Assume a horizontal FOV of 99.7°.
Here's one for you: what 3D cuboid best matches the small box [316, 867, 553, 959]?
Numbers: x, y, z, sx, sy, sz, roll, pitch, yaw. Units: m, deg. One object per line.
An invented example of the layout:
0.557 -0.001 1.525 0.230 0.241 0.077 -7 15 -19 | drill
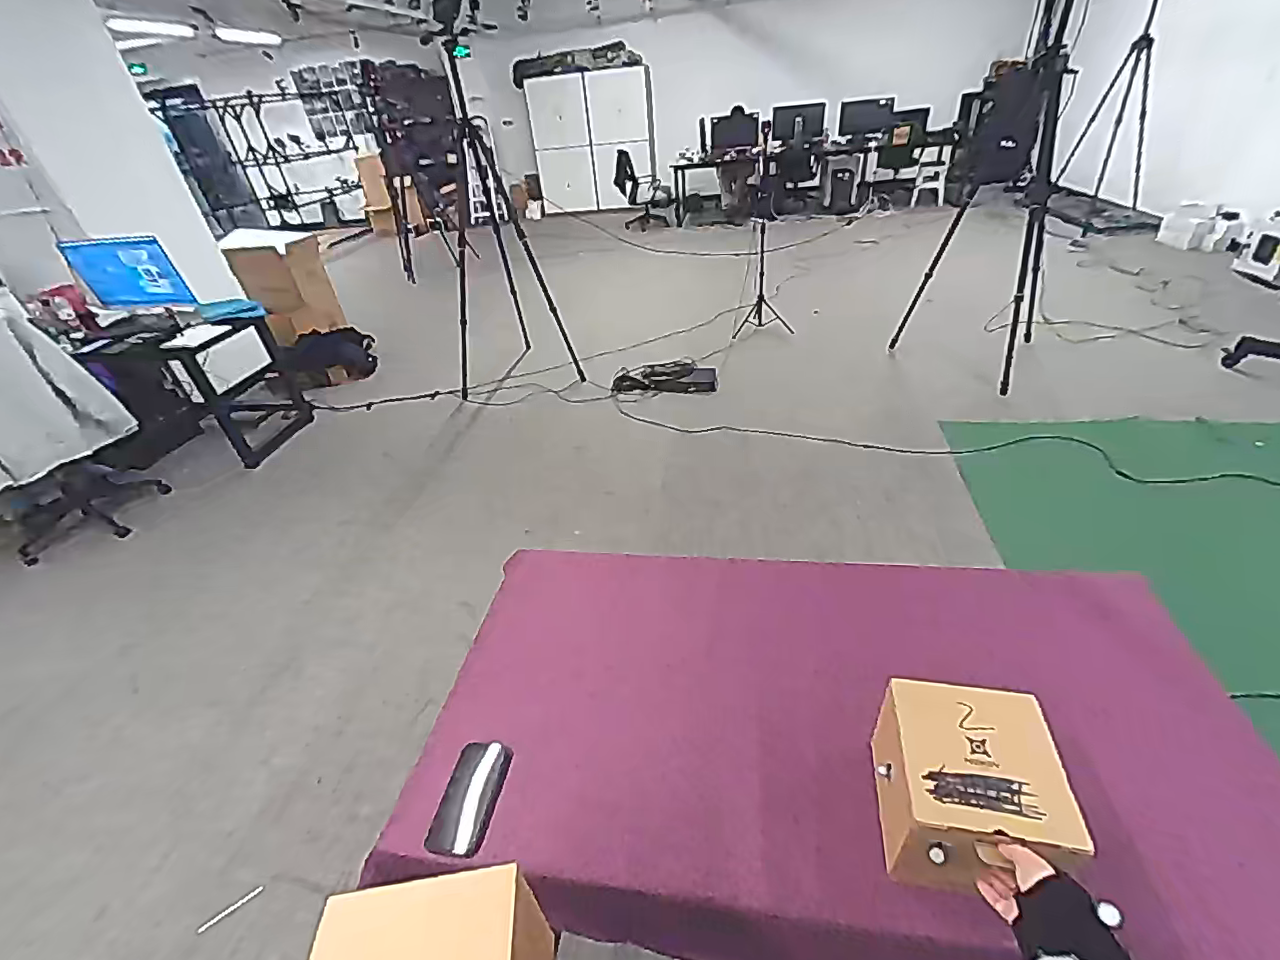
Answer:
-0.165 0.460 0.442 0.168 0.176 0.179 -8 35 -2 | small box
